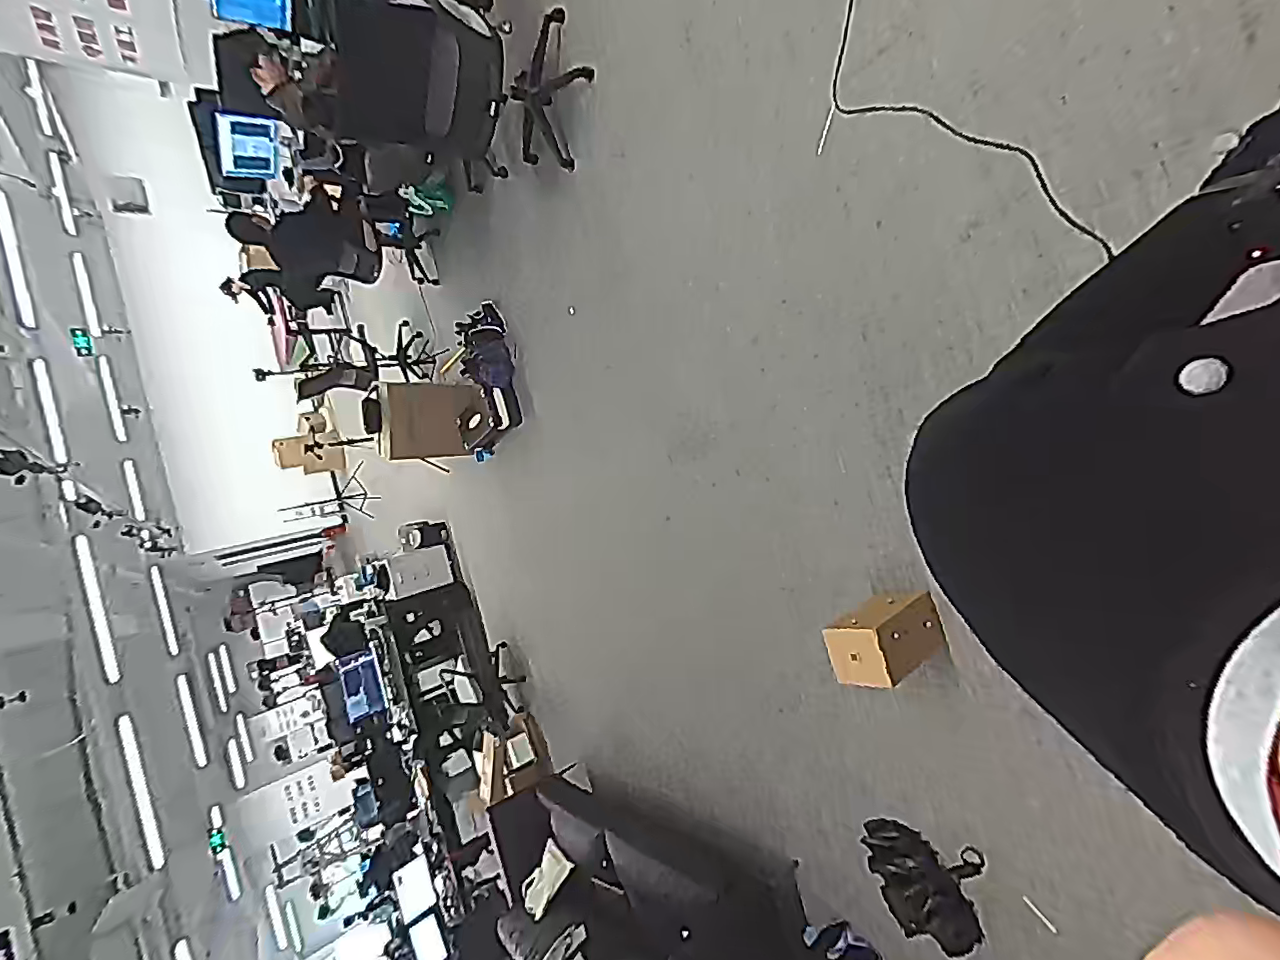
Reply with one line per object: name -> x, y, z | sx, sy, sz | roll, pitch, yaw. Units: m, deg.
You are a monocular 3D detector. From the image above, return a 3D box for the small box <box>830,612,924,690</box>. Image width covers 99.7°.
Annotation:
small box -> 0.697, 0.493, 1.578 | 0.179, 0.176, 0.168 | -24, 83, 55

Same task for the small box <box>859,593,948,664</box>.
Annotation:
small box -> 0.823, 0.457, 1.676 | 0.179, 0.176, 0.168 | -24, 83, 54
